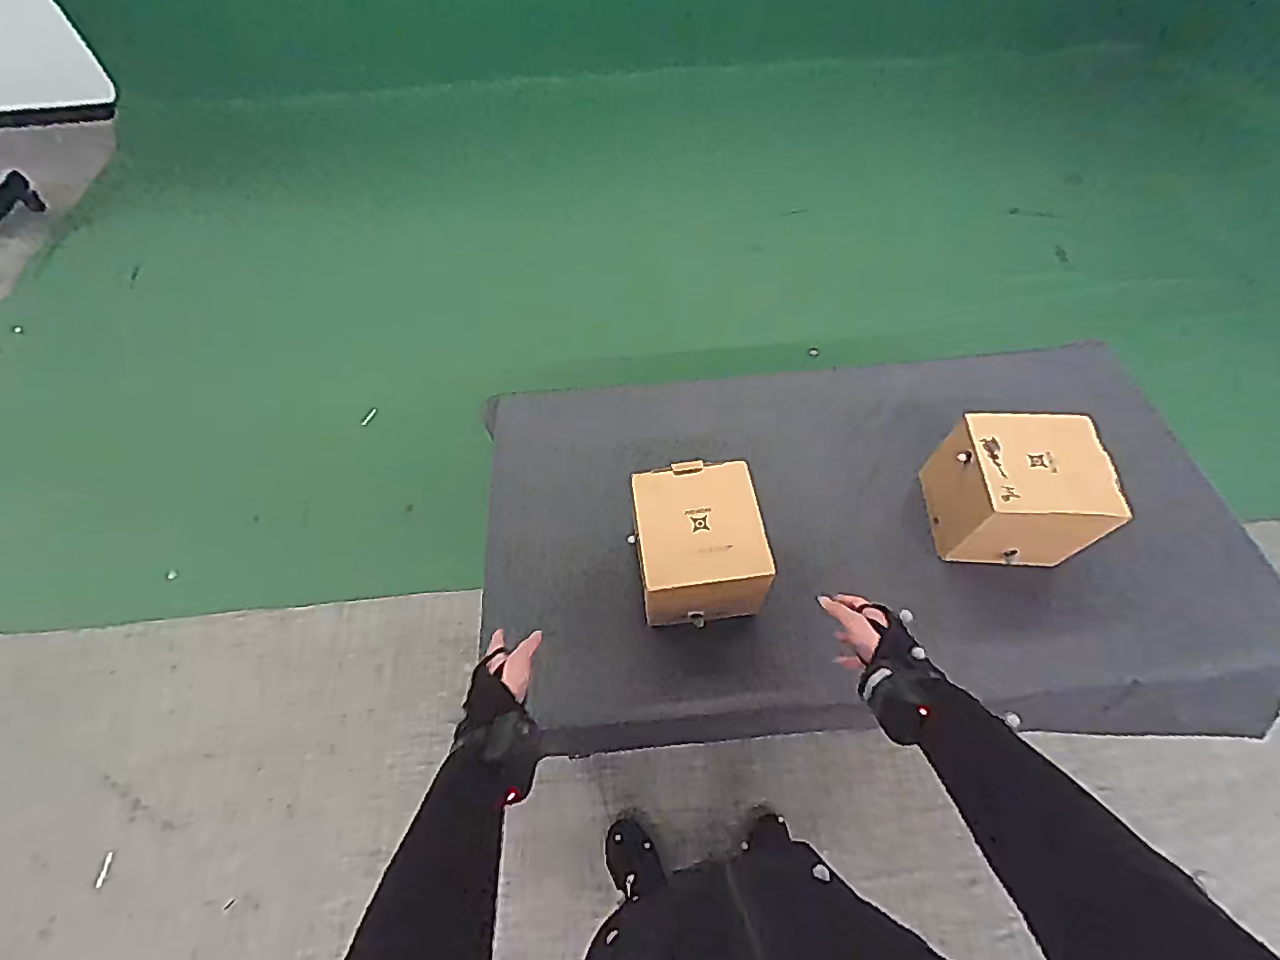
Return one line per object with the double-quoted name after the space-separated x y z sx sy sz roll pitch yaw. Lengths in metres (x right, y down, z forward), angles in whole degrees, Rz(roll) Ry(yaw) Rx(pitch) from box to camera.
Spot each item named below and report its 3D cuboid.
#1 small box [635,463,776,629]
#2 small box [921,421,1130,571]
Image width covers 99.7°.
0.083 0.098 0.771 0.168 0.176 0.179 -6 59 0 "small box"
0.559 0.030 0.814 0.179 0.176 0.168 3 59 3 "small box"
